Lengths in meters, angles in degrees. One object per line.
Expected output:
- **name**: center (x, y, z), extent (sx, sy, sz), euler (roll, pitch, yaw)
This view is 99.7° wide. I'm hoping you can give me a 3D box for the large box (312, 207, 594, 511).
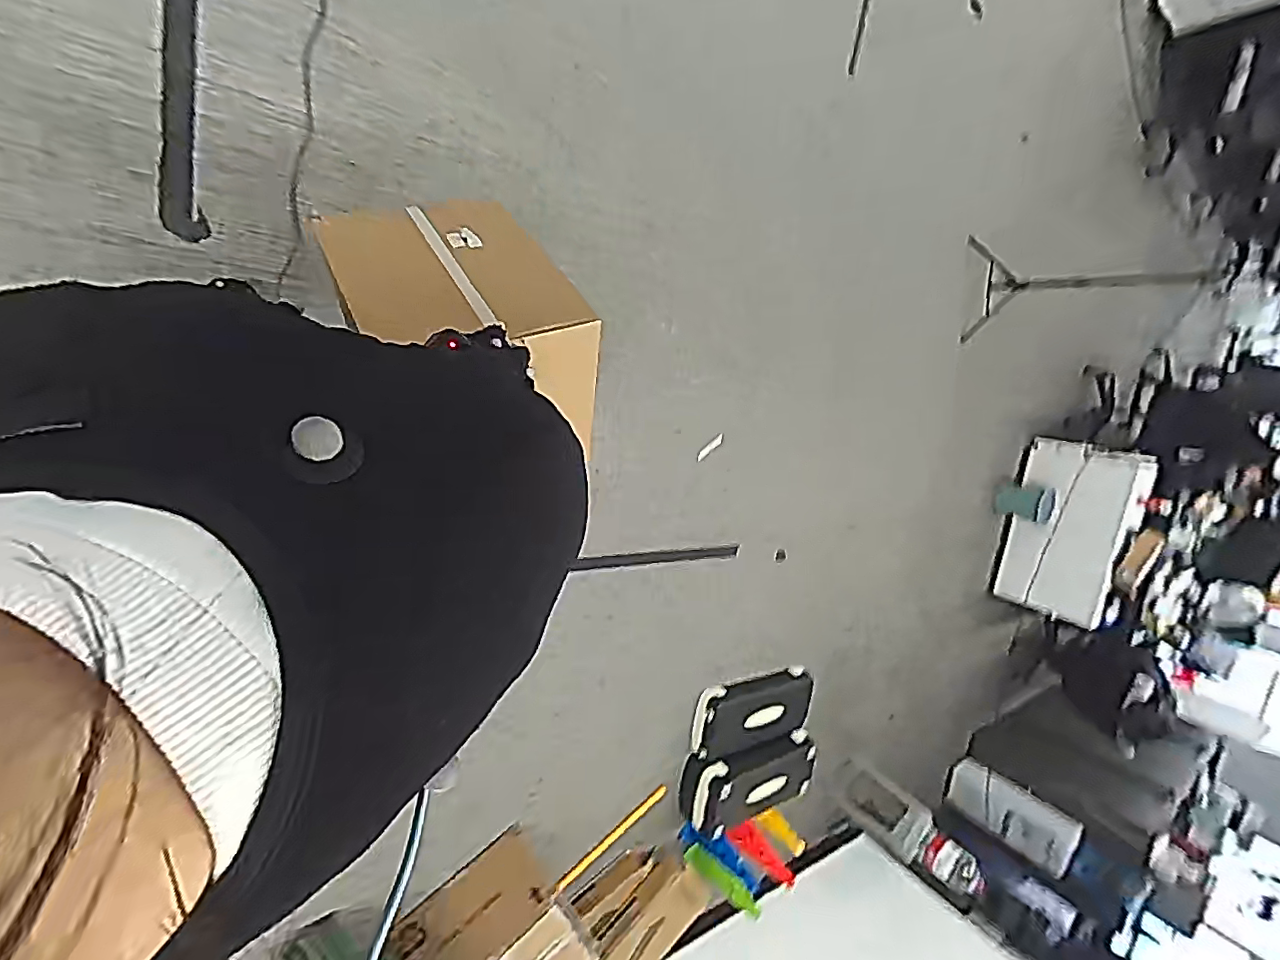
- **large box**: center (-0.316, -0.222, 0.949), extent (0.320, 0.408, 0.320), euler (-20, 146, -26)
